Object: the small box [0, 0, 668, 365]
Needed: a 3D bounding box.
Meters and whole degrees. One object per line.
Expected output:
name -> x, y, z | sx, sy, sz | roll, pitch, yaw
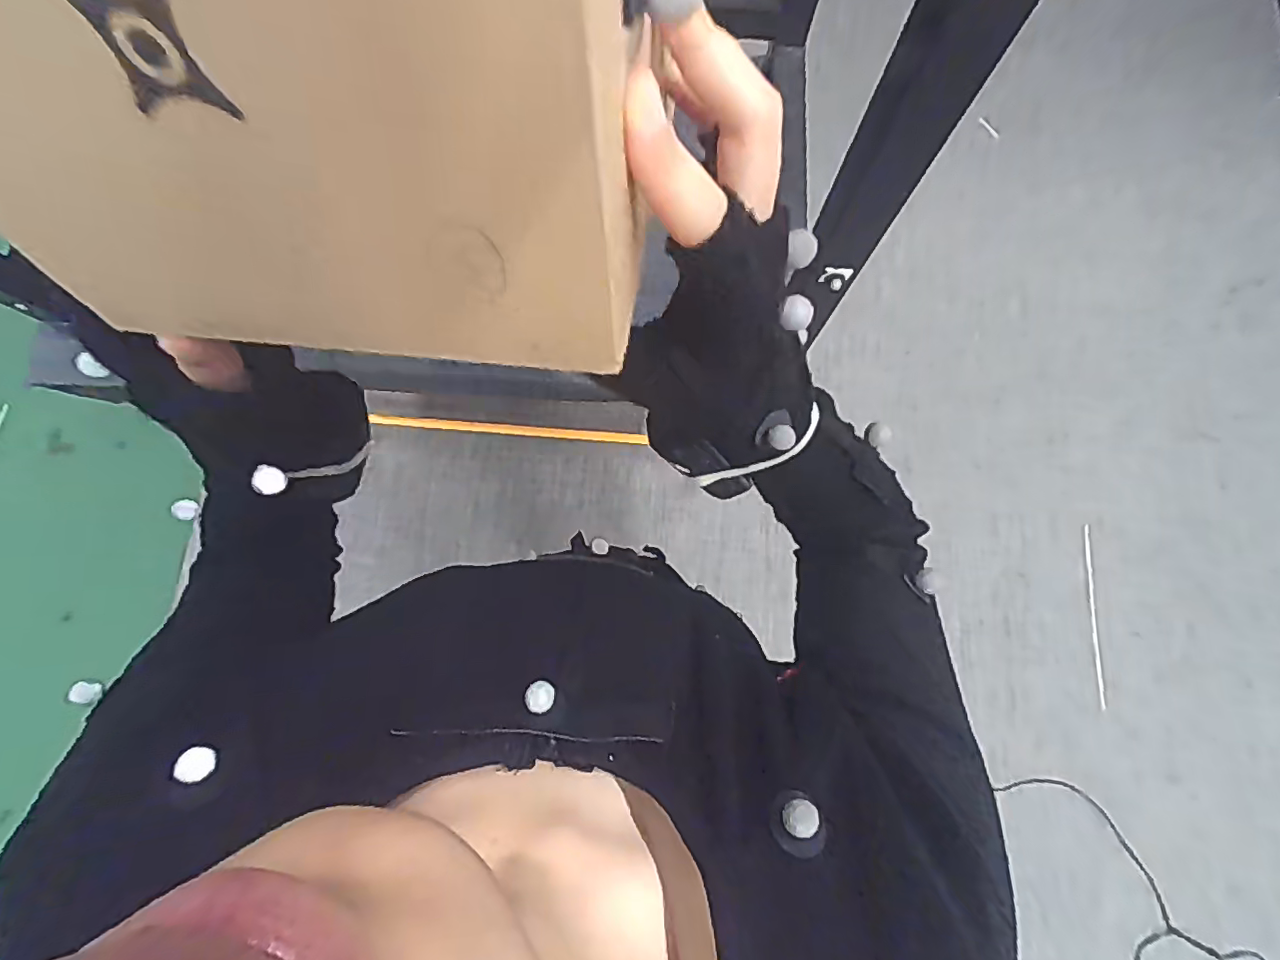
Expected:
small box -> -0.080, -0.157, 0.138 | 0.168, 0.179, 0.176 | 6, 58, 5
